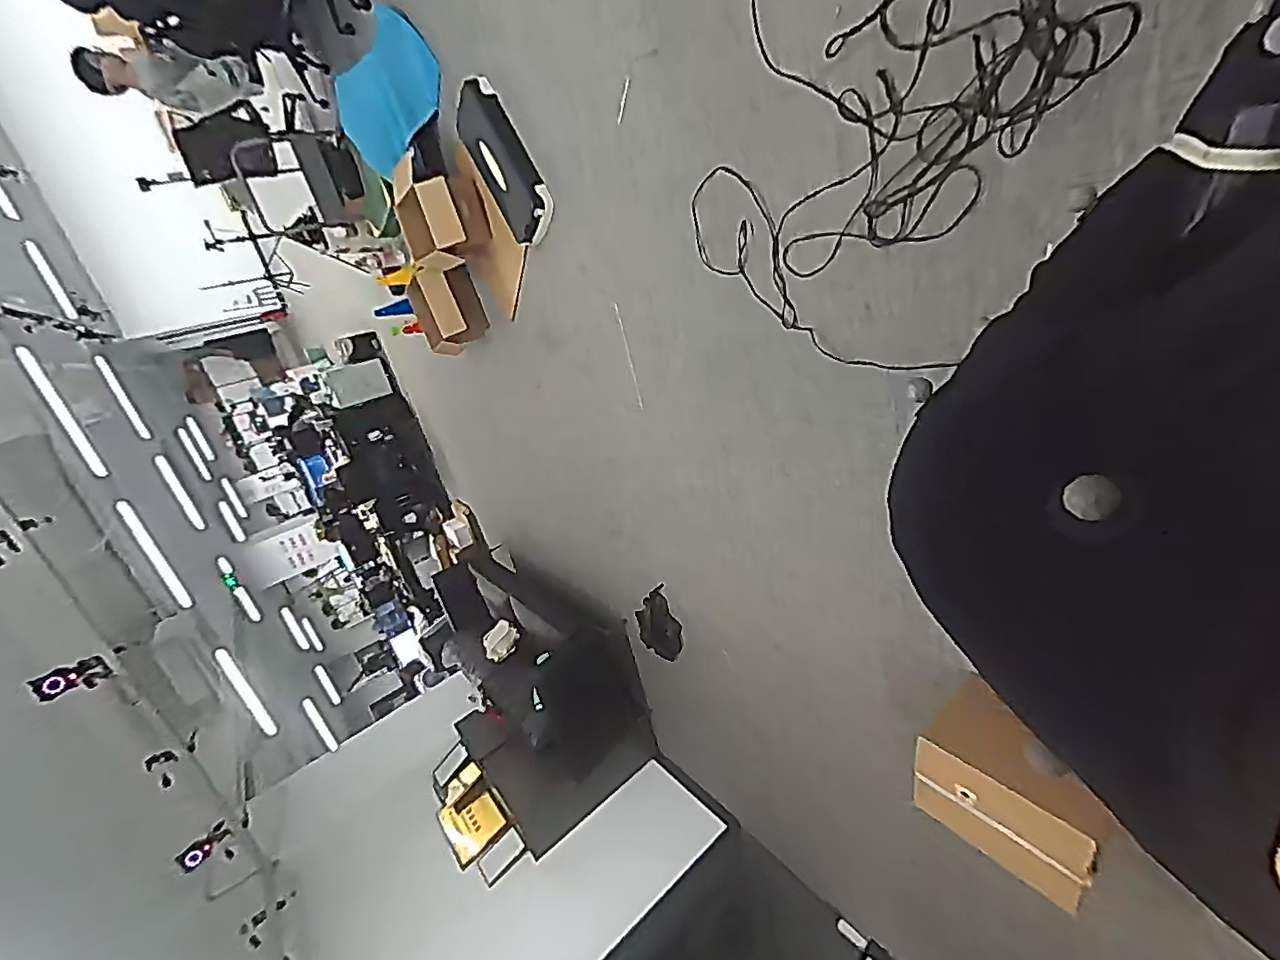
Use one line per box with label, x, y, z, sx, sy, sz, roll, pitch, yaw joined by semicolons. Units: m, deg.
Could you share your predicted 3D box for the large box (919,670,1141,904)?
large box;1.050;0.810;1.488;0.408;0.320;0.320;23;132;49
